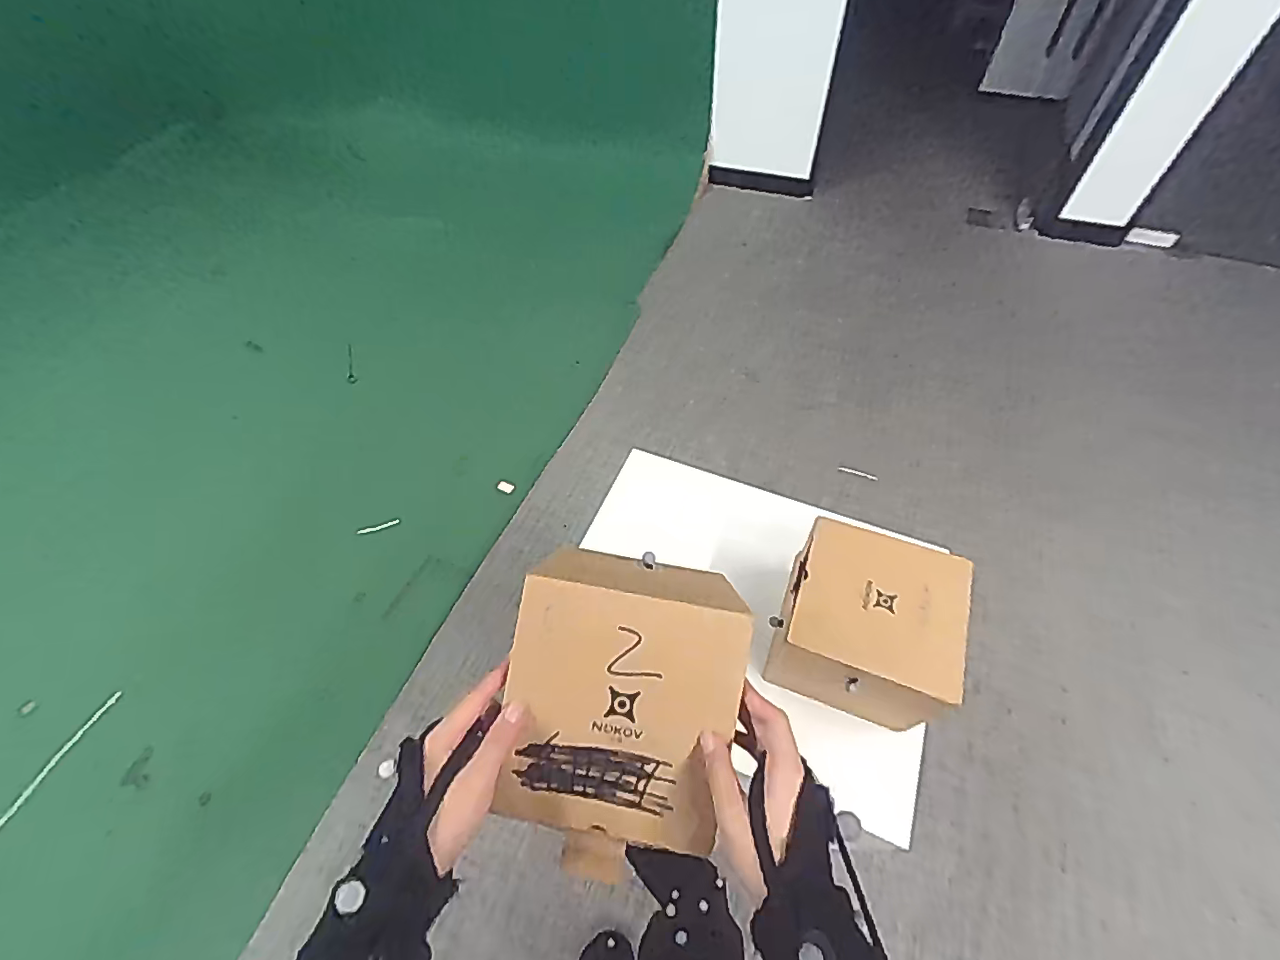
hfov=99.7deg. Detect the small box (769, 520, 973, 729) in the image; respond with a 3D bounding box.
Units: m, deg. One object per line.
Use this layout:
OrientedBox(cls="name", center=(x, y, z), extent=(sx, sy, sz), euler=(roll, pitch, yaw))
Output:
OrientedBox(cls="small box", center=(0.265, 0.178, 0.648), extent=(0.179, 0.176, 0.168), euler=(17, 59, 14))
